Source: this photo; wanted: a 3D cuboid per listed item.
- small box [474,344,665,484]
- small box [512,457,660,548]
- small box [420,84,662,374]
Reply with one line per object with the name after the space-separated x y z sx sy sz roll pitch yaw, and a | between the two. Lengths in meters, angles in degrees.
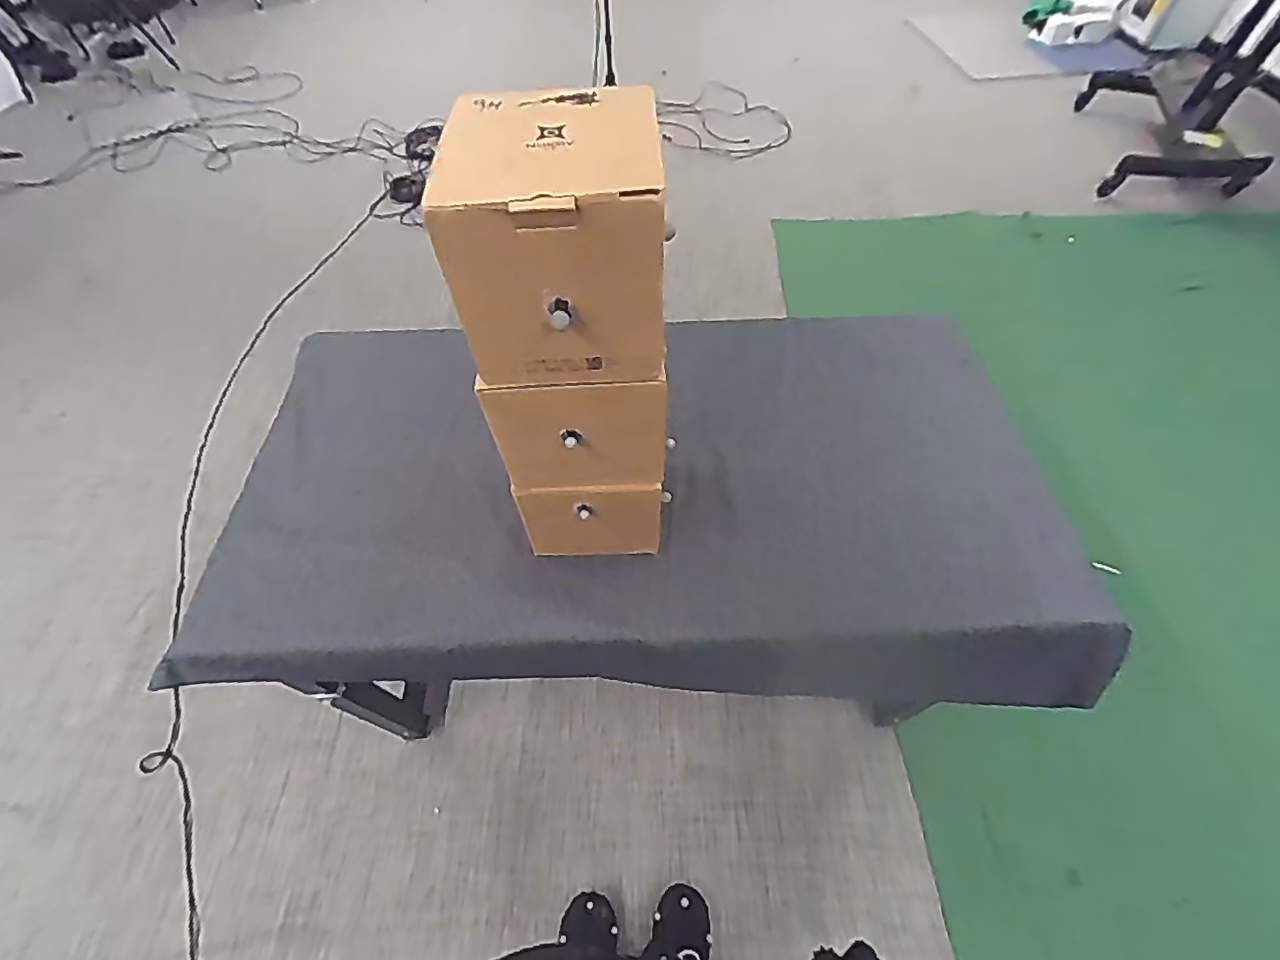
-0.065 -0.108 0.600 0.179 0.176 0.168 -3 57 0 | small box
-0.063 -0.015 0.735 0.179 0.176 0.168 -1 57 -1 | small box
-0.066 -0.205 0.468 0.168 0.176 0.179 -2 58 0 | small box
